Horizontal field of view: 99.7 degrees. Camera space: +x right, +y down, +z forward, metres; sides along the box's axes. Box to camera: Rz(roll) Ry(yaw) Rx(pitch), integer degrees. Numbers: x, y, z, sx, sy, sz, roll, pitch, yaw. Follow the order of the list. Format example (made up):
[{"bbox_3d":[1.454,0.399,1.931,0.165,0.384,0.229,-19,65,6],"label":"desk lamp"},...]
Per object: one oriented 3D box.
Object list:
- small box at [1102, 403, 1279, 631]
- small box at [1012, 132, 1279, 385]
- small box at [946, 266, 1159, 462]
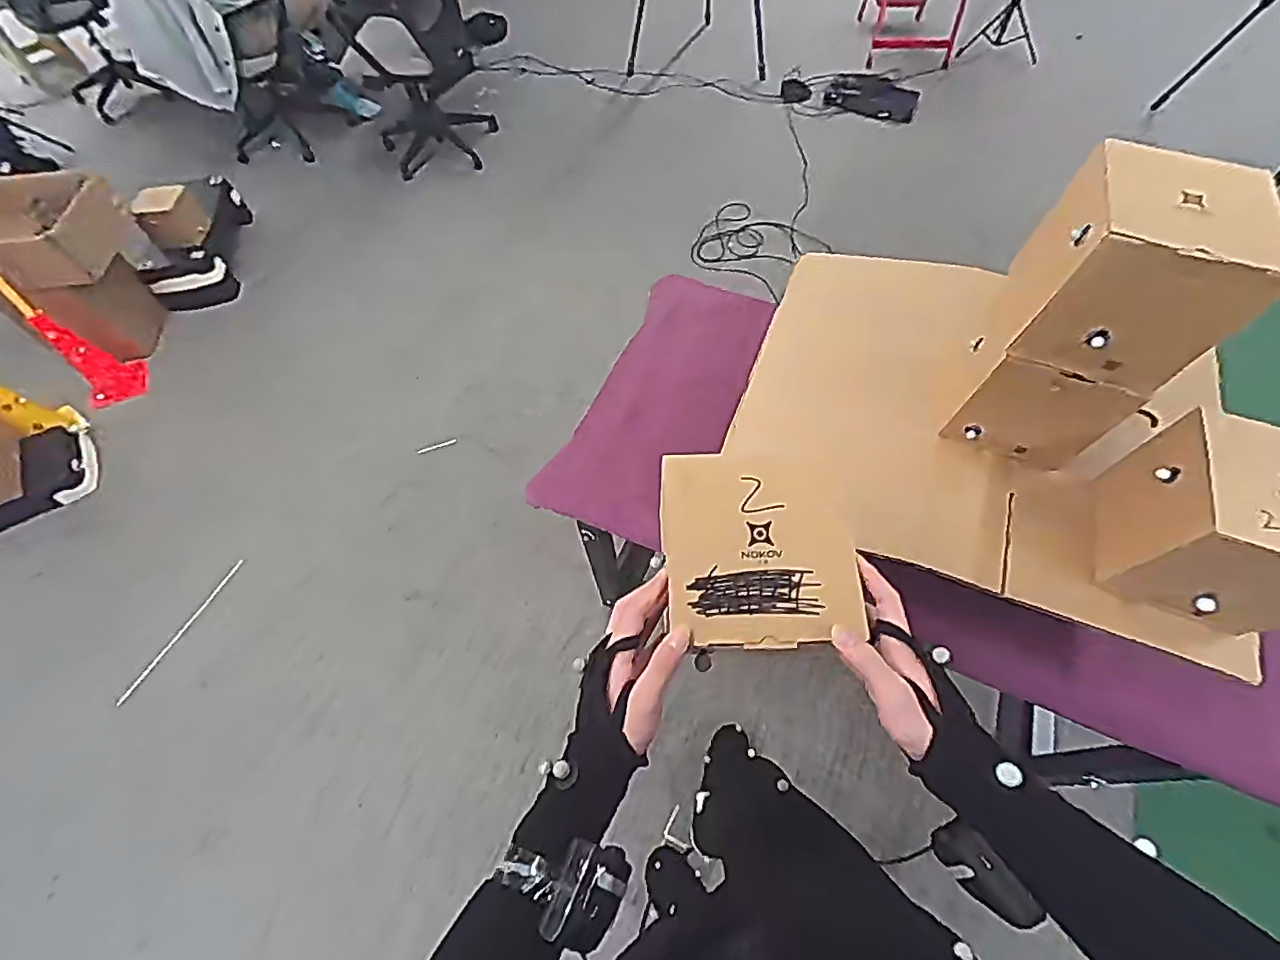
[{"bbox_3d":[0.681,0.048,0.625,0.168,0.176,0.179,19,62,12],"label":"small box"},{"bbox_3d":[0.548,-0.237,0.599,0.168,0.176,0.179,19,63,9],"label":"small box"},{"bbox_3d":[0.546,-0.152,0.737,0.168,0.176,0.179,20,62,10],"label":"small box"}]
